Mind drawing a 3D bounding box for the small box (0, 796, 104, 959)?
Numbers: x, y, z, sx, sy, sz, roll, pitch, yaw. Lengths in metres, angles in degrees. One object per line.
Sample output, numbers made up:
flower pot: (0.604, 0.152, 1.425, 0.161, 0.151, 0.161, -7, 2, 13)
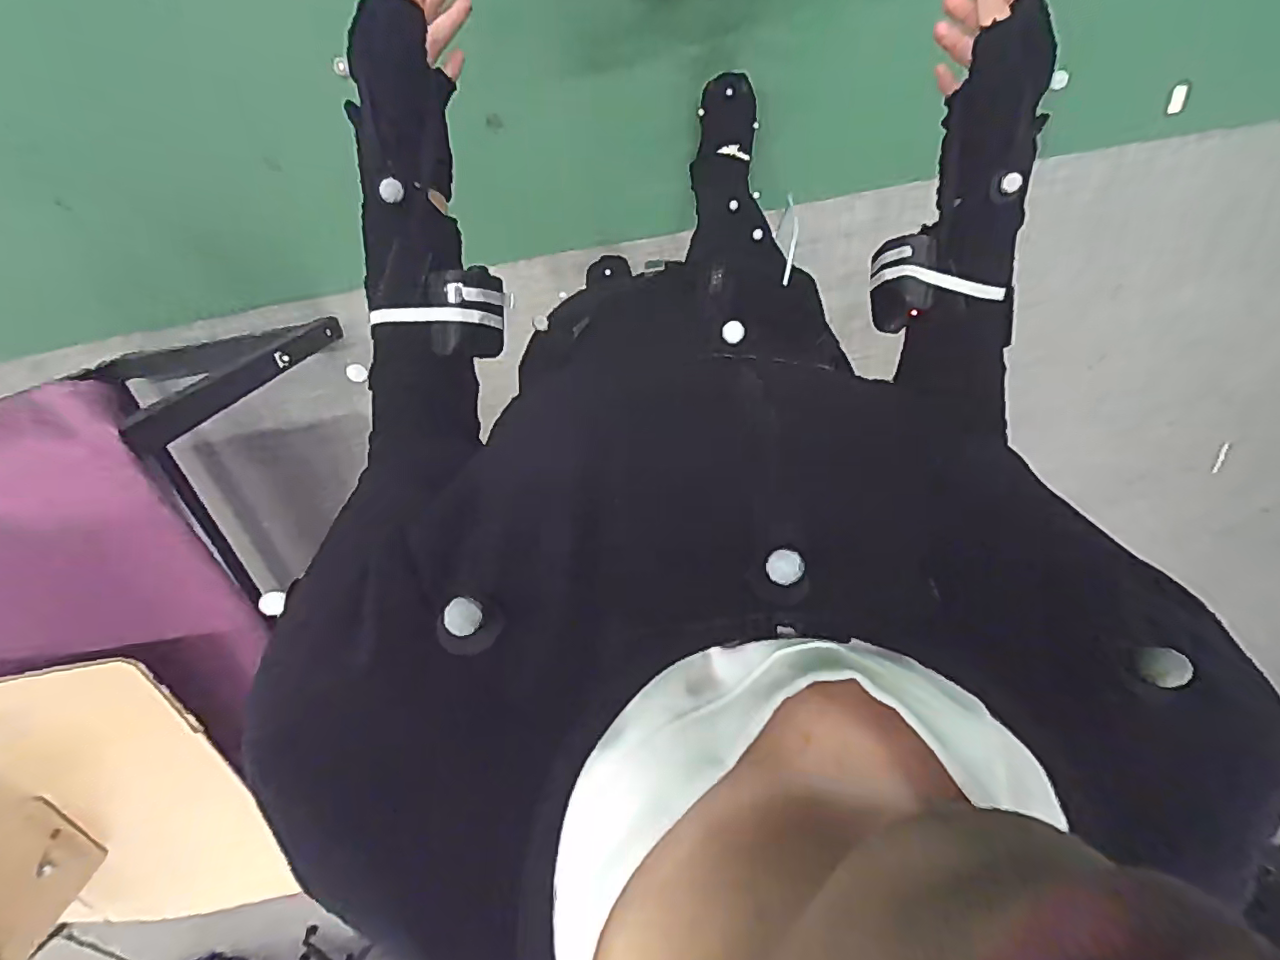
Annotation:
small box: (-0.949, 0.578, 0.768, 0.179, 0.176, 0.168, -6, 121, 3)
